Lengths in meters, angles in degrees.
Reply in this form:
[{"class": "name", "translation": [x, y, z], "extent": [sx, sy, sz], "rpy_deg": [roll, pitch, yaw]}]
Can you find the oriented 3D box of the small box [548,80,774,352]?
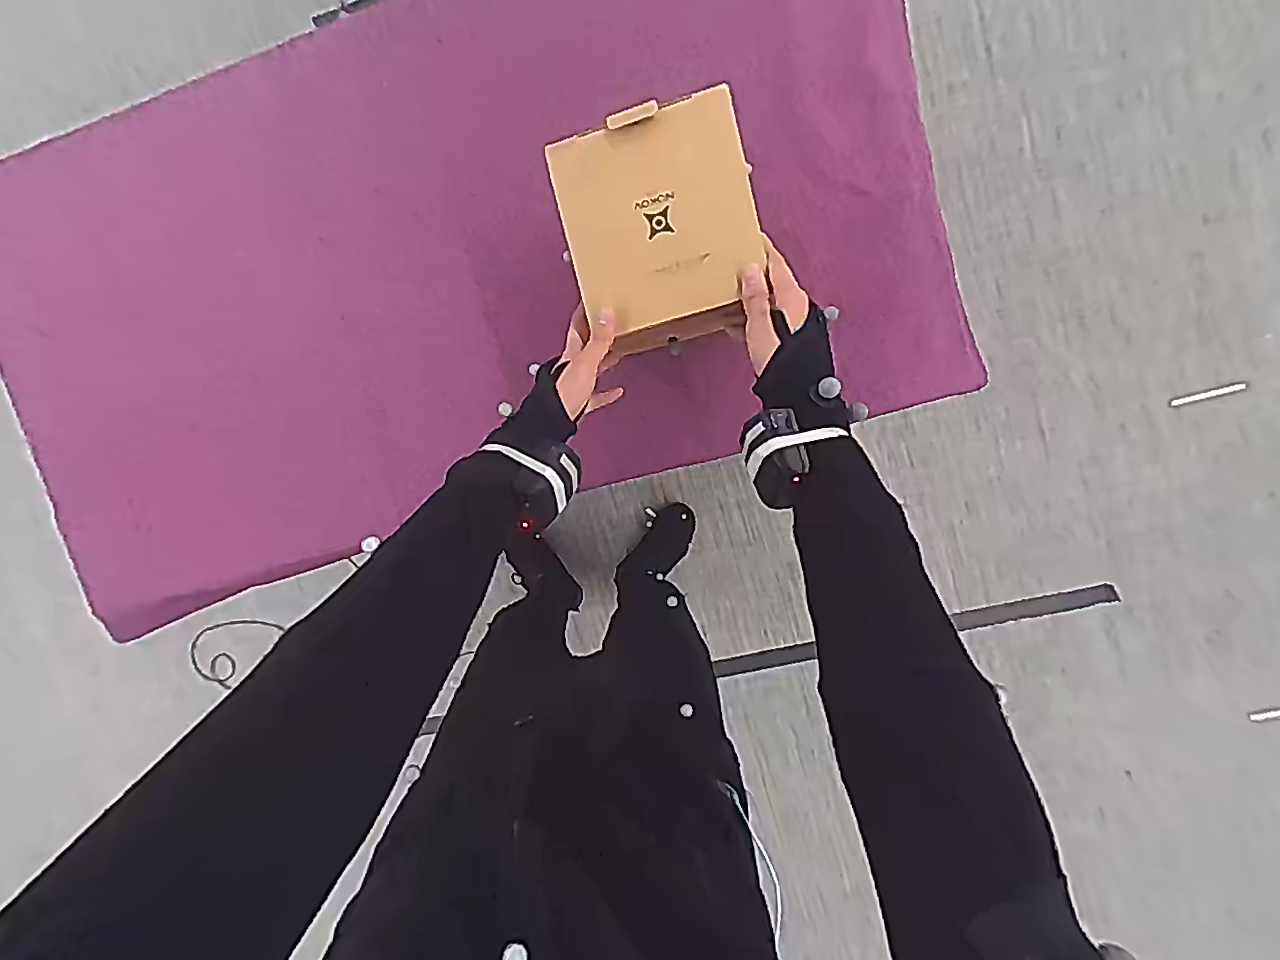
[{"class": "small box", "translation": [0.026, -0.238, 0.537], "extent": [0.168, 0.176, 0.179], "rpy_deg": [-12, 97, 9]}]
